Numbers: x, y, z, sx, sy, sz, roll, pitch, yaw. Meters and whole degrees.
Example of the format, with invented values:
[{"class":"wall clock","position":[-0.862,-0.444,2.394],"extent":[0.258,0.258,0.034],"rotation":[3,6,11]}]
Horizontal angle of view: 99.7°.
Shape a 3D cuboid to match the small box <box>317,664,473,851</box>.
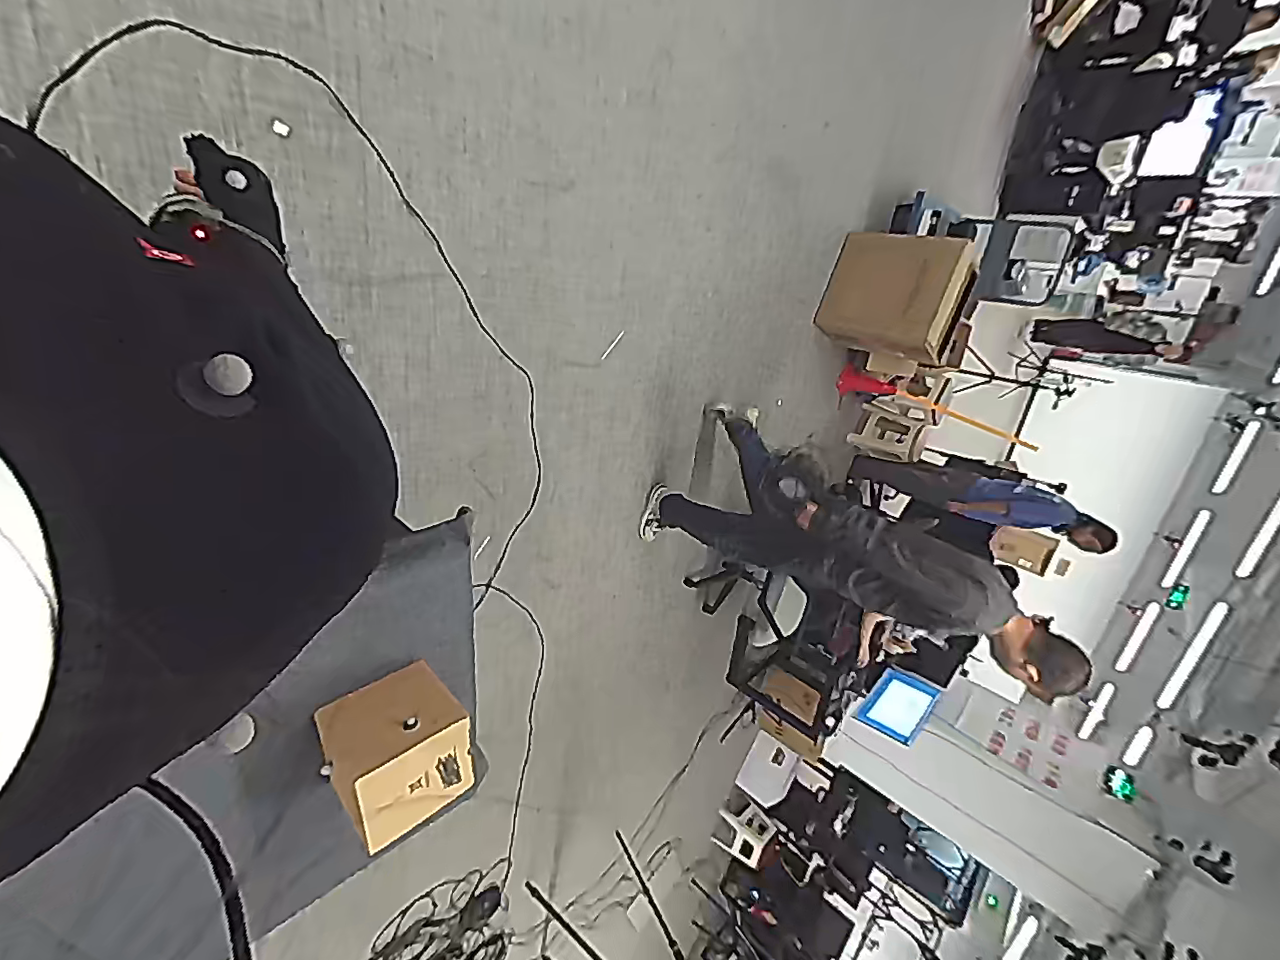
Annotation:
[{"class":"small box","position":[-0.397,0.438,0.886],"extent":[0.179,0.176,0.168],"rotation":[-19,123,-42]}]
